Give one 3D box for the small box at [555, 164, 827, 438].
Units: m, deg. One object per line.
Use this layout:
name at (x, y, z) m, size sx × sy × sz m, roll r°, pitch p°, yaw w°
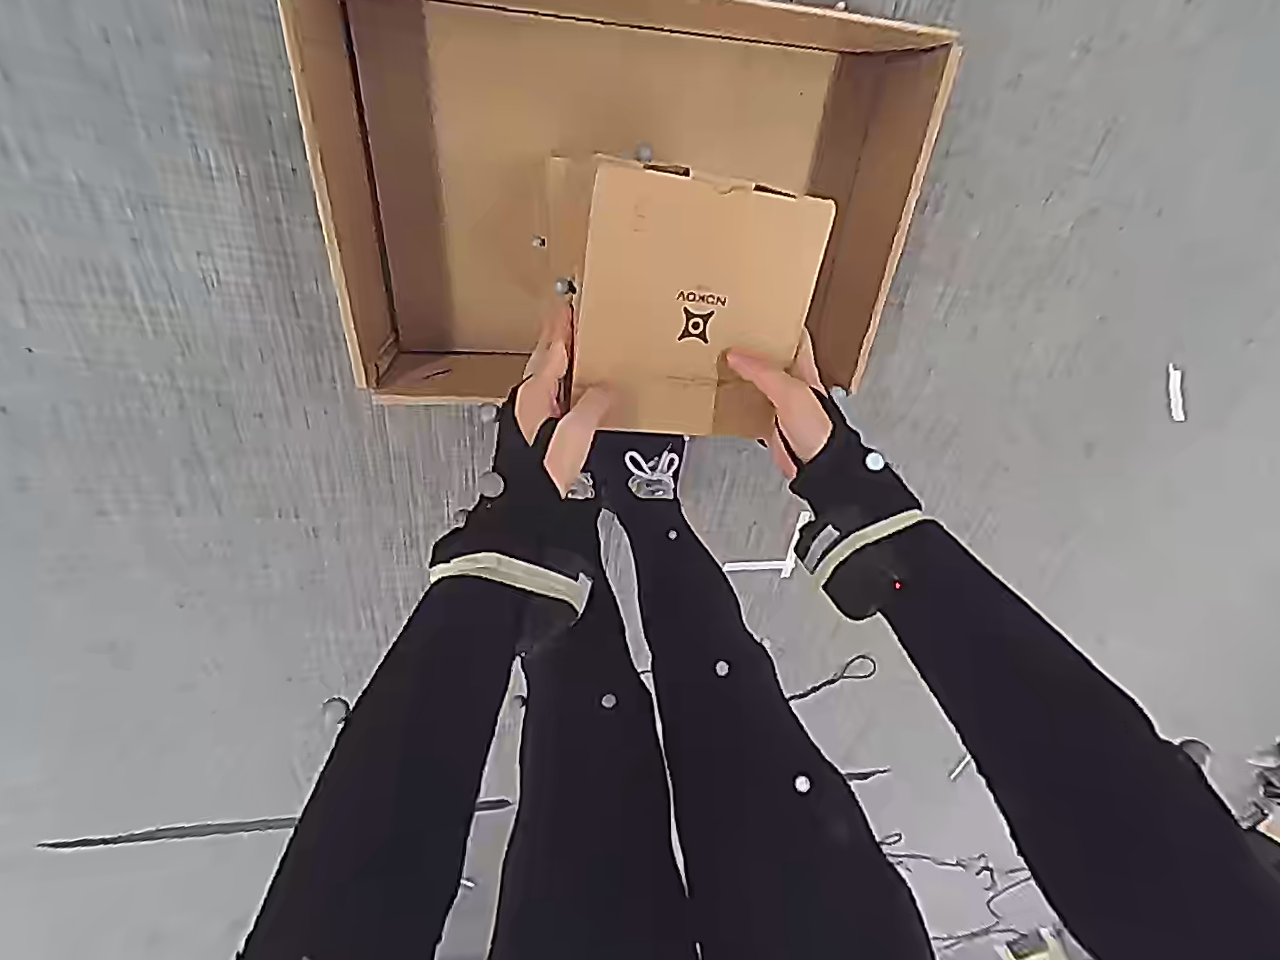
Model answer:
small box at (0.021, -0.151, 0.454) m, size 0.168 × 0.176 × 0.179 m, roll 2°, pitch 119°, yaw -15°
